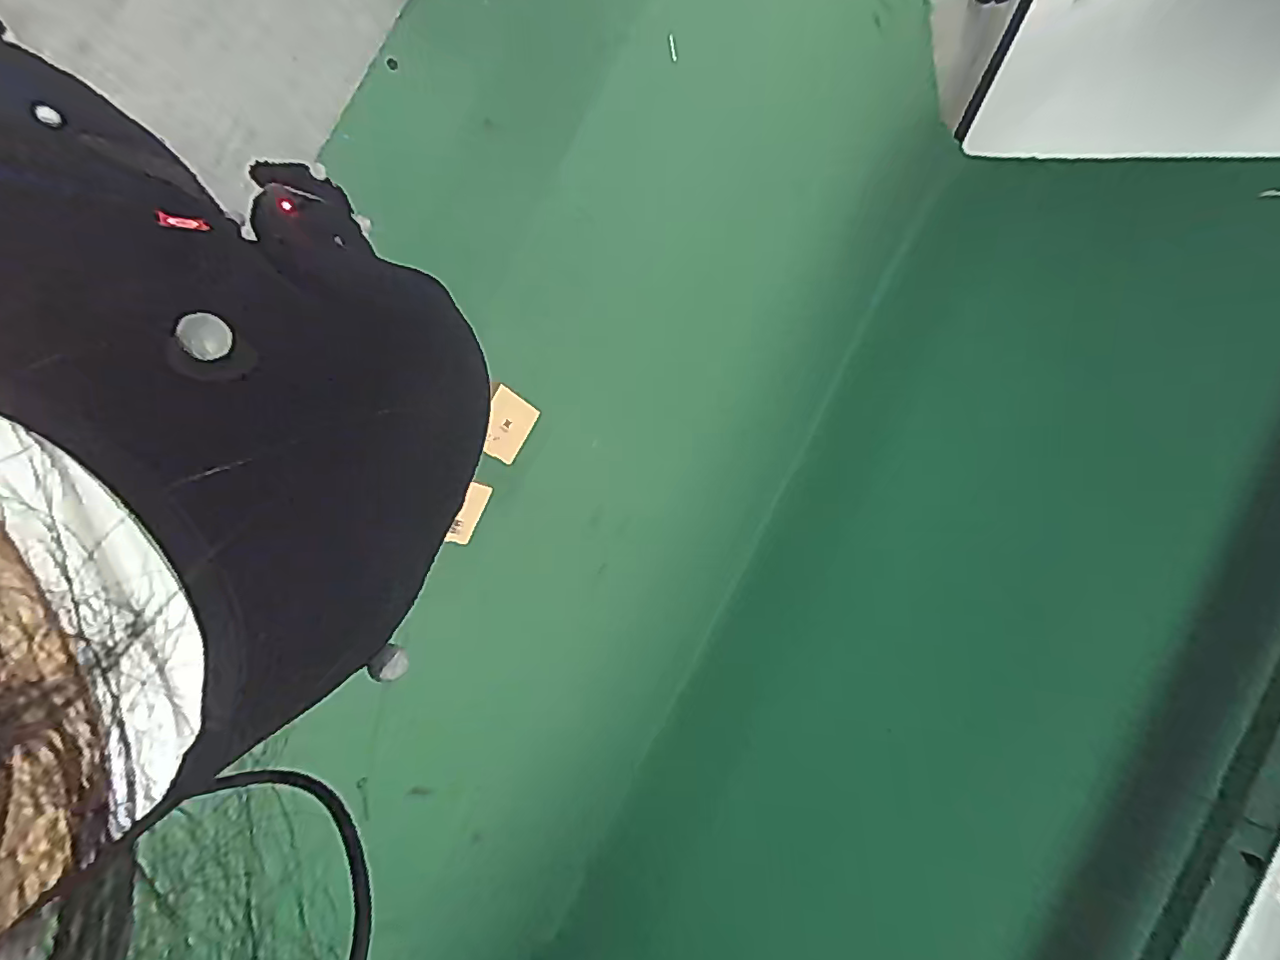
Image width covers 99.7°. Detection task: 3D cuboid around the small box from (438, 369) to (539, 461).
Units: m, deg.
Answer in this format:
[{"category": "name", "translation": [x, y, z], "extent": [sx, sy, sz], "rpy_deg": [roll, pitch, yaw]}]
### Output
[{"category": "small box", "translation": [-0.420, -0.183, 1.488], "extent": [0.179, 0.176, 0.168], "rpy_deg": [-61, 144, -6]}]
